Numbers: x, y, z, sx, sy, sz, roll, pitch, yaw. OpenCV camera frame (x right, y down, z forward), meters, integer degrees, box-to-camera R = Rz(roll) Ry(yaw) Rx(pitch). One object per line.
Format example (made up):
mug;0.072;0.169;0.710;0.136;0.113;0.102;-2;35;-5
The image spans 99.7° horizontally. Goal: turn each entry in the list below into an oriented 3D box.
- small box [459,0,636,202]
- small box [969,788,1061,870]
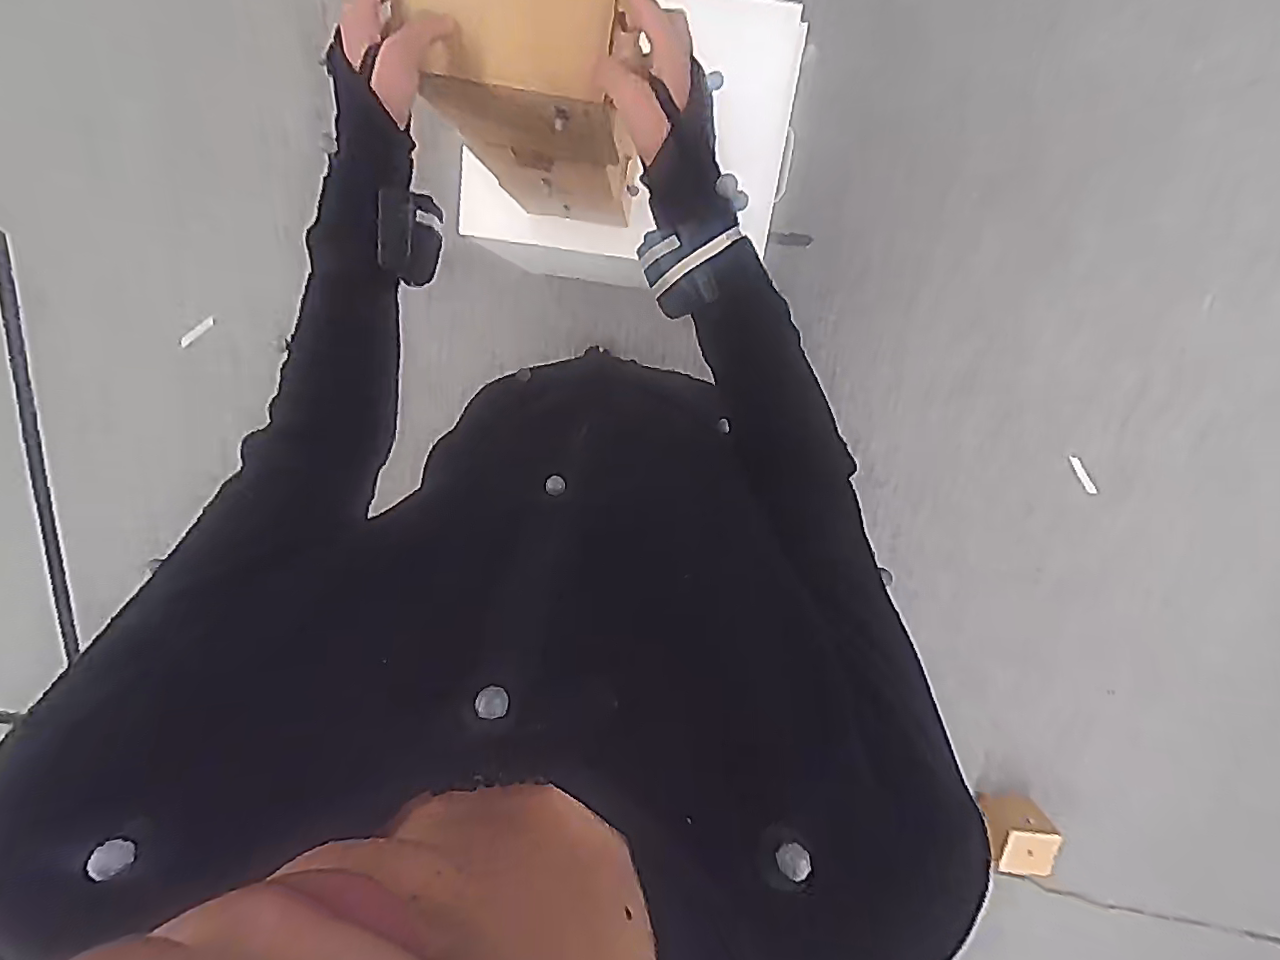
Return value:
small box;-0.099;-0.456;0.641;0.168;0.176;0.179;10;105;-1
small box;1.281;1.194;1.859;0.179;0.176;0.168;7;104;-1
